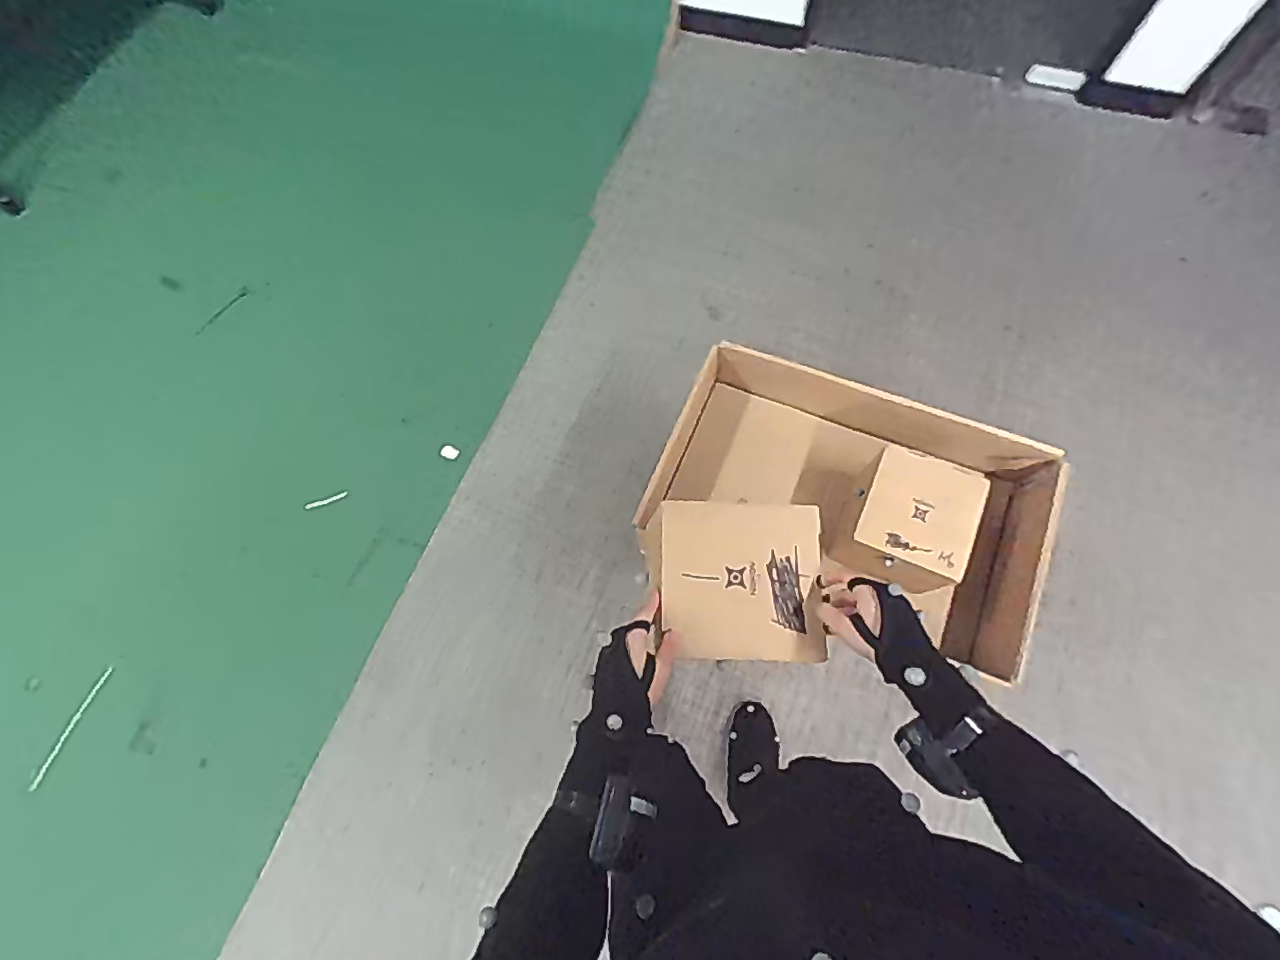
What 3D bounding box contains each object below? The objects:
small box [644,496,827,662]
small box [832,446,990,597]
[{"bbox_3d":[0.101,0.121,0.640,0.179,0.176,0.168,3,74,-3],"label":"small box"},{"bbox_3d":[0.441,0.076,0.904,0.168,0.176,0.179,22,74,13],"label":"small box"}]
